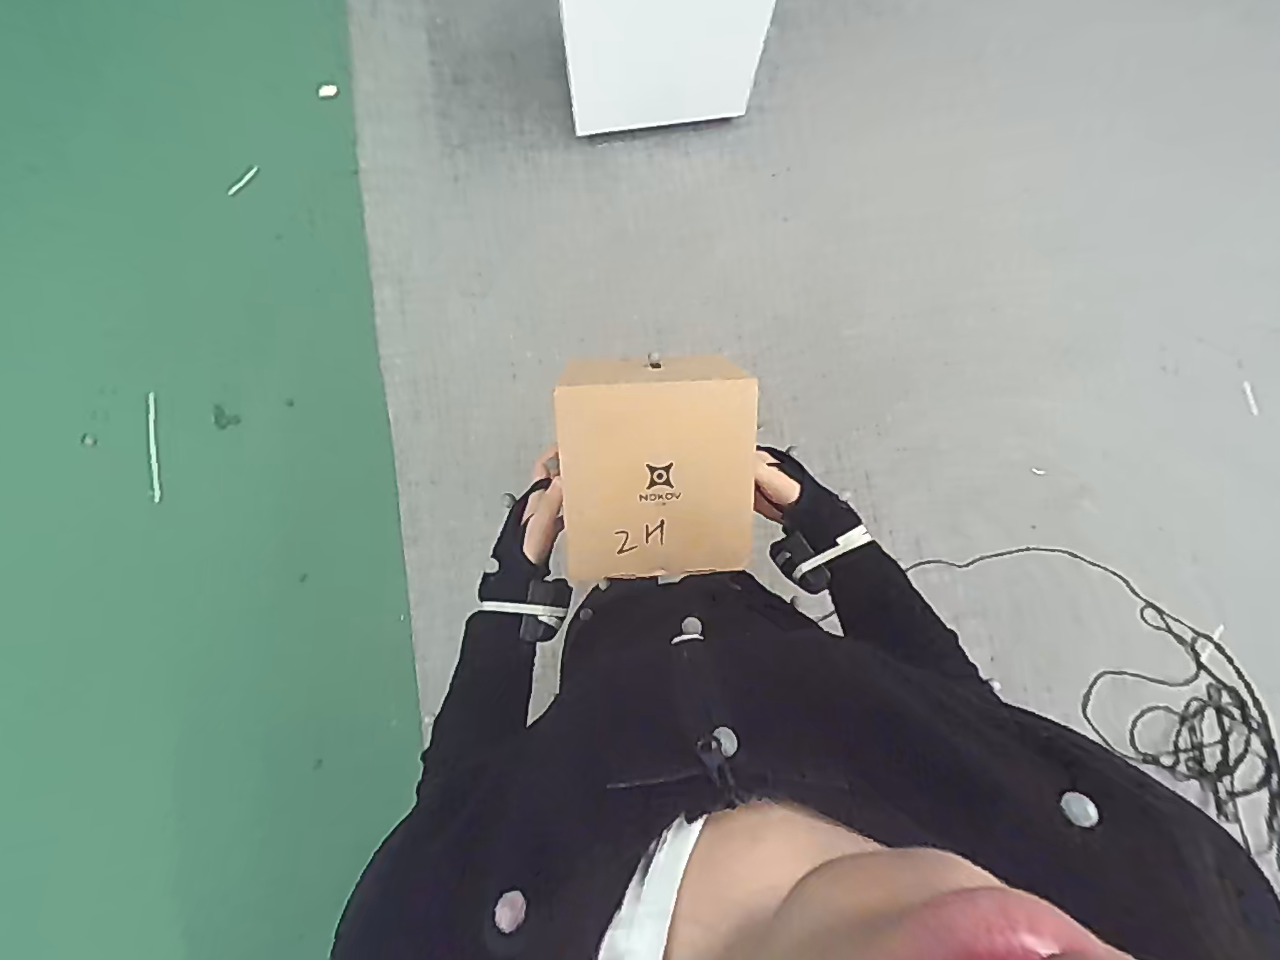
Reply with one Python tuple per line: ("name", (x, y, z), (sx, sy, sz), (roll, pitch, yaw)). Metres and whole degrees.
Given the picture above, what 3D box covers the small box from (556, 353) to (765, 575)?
("small box", (0.013, -0.028, 0.515), (0.168, 0.176, 0.179), (-2, 109, -2))
